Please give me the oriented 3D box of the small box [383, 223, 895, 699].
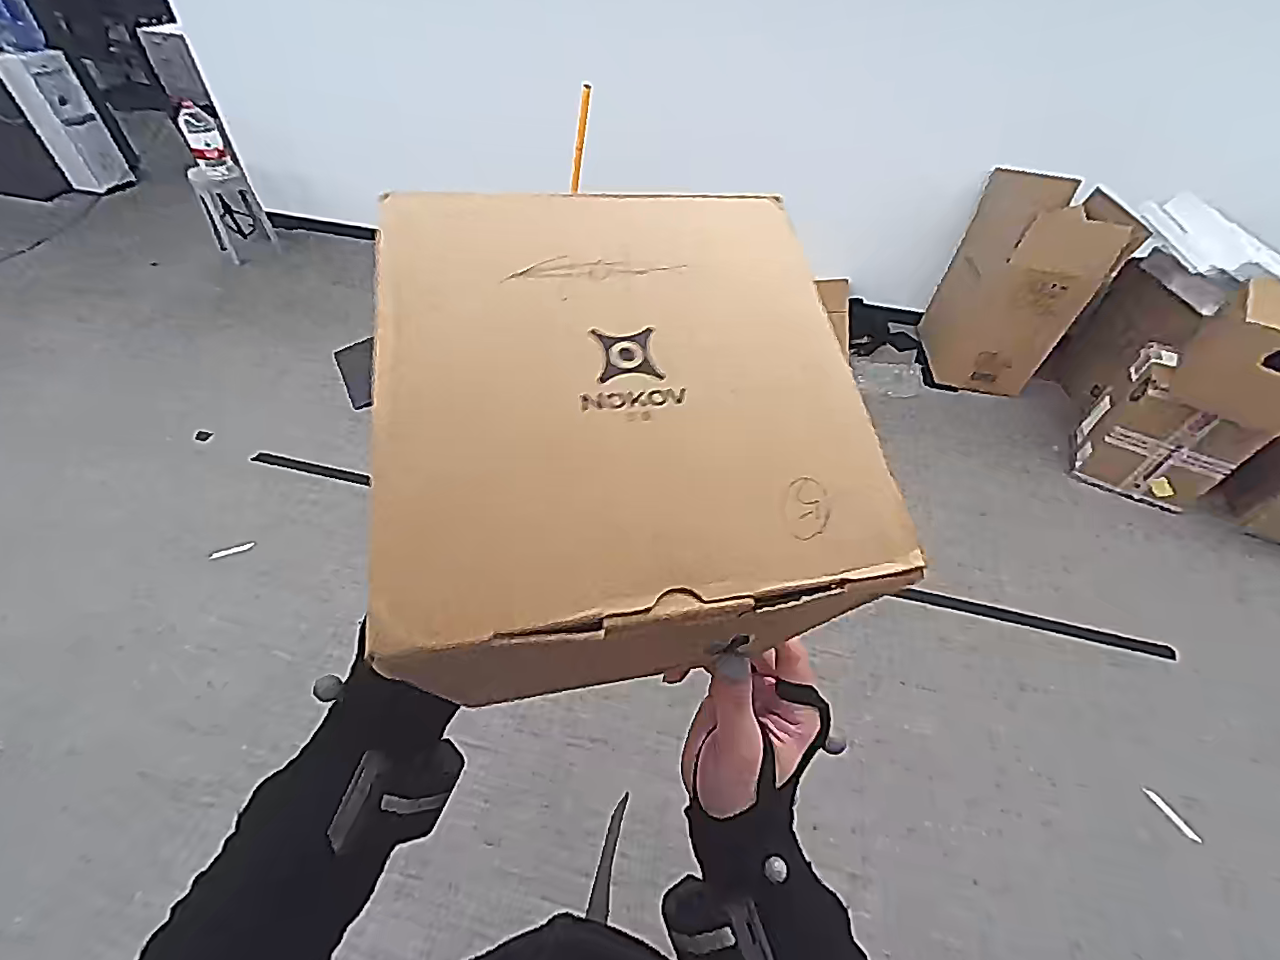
[{"bbox_3d":[-0.018,0.003,0.272,0.168,0.176,0.179,-8,64,-12],"label":"small box"}]
